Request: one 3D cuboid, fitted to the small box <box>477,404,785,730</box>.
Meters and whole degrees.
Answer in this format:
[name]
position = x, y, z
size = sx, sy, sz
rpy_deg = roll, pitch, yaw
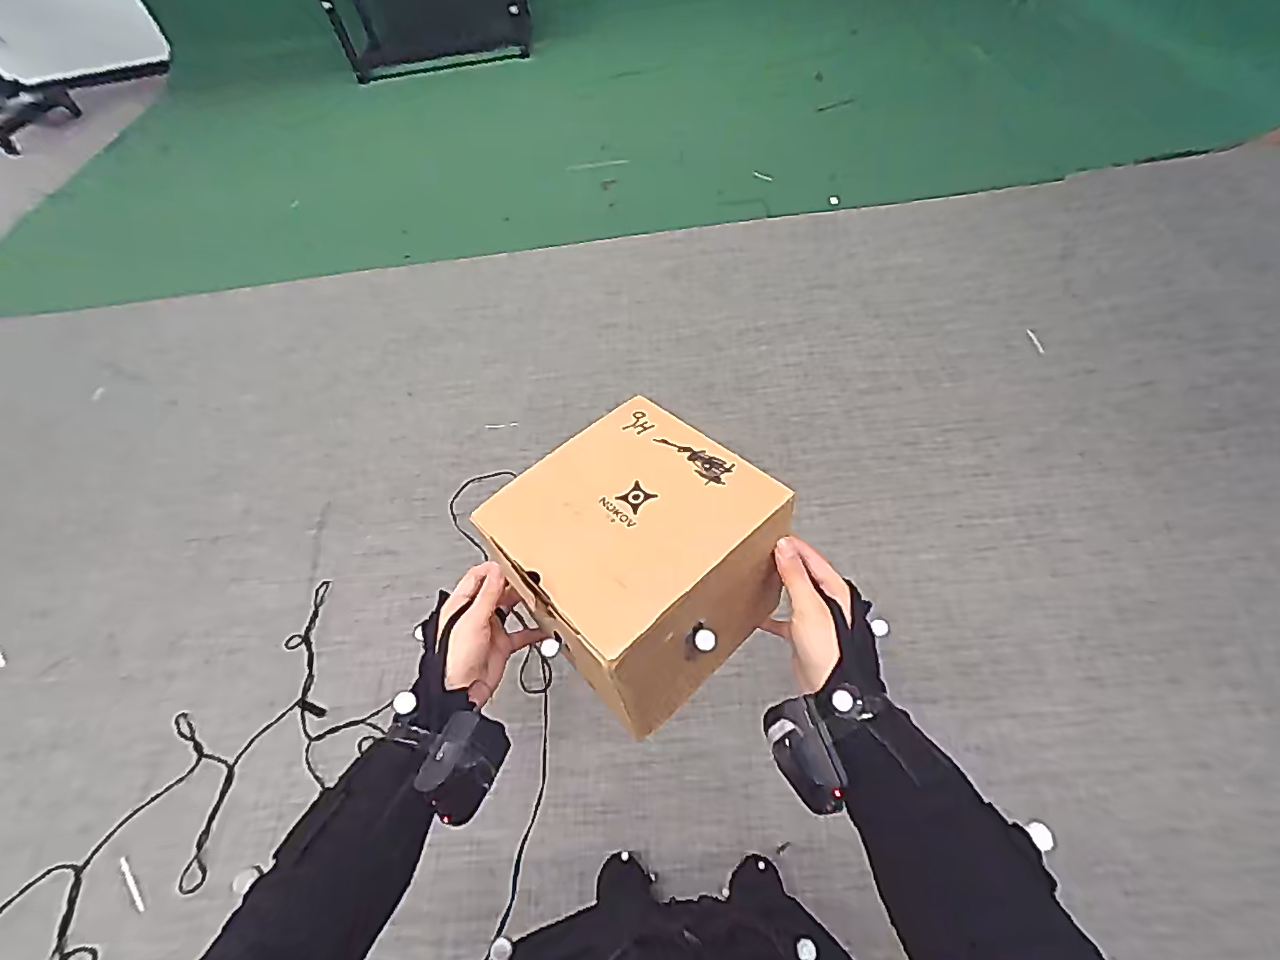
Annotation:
[small box]
position = 0.002, 0.075, 0.457
size = 0.179, 0.176, 0.168
rpy_deg = -39, 55, -21
